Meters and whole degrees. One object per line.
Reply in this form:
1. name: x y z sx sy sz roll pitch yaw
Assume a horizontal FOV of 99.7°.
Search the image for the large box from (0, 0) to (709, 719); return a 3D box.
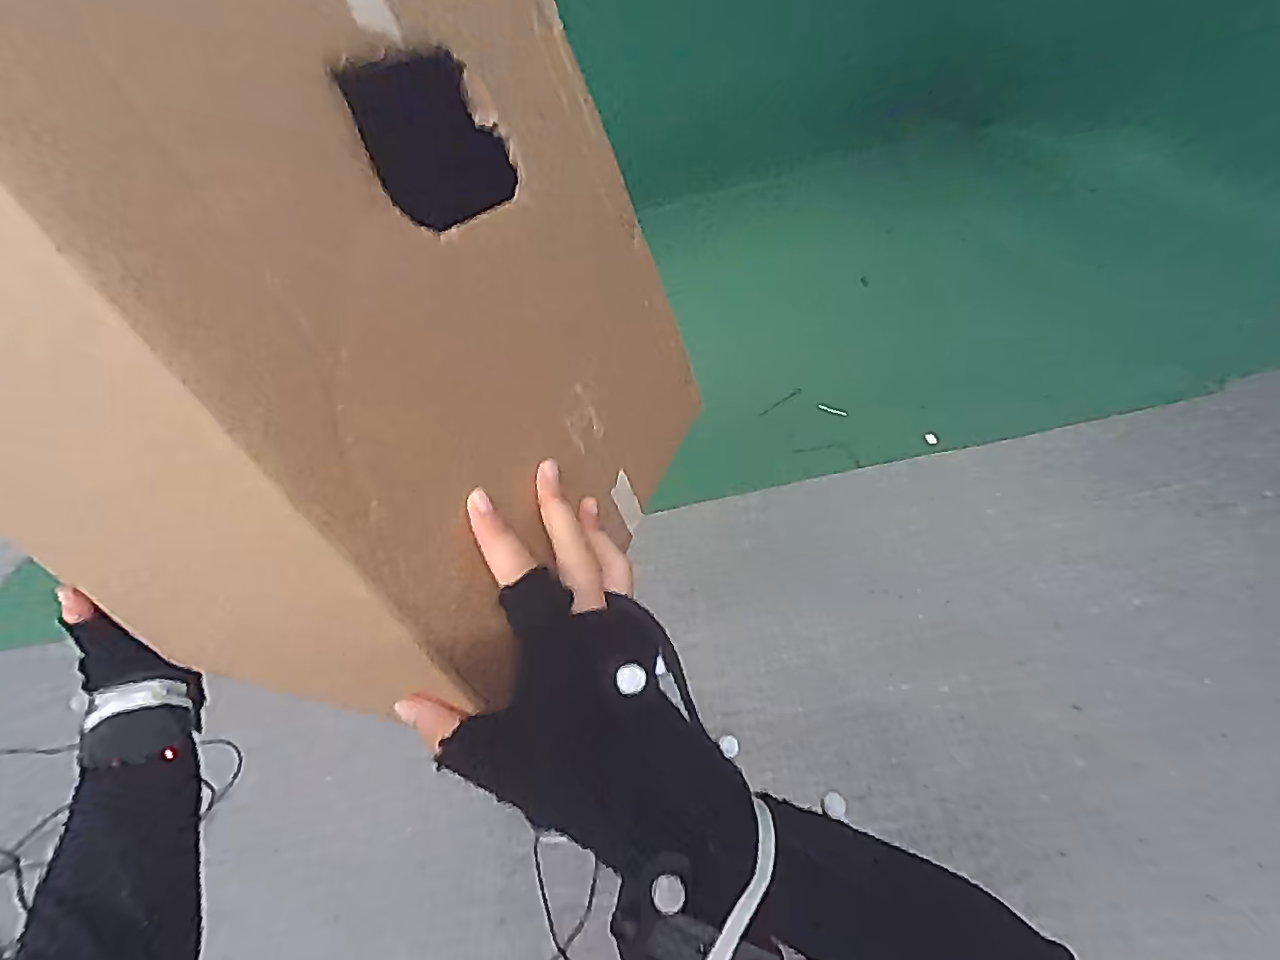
1. large box: -0.214 -0.071 0.396 0.408 0.320 0.320 -5 36 31
